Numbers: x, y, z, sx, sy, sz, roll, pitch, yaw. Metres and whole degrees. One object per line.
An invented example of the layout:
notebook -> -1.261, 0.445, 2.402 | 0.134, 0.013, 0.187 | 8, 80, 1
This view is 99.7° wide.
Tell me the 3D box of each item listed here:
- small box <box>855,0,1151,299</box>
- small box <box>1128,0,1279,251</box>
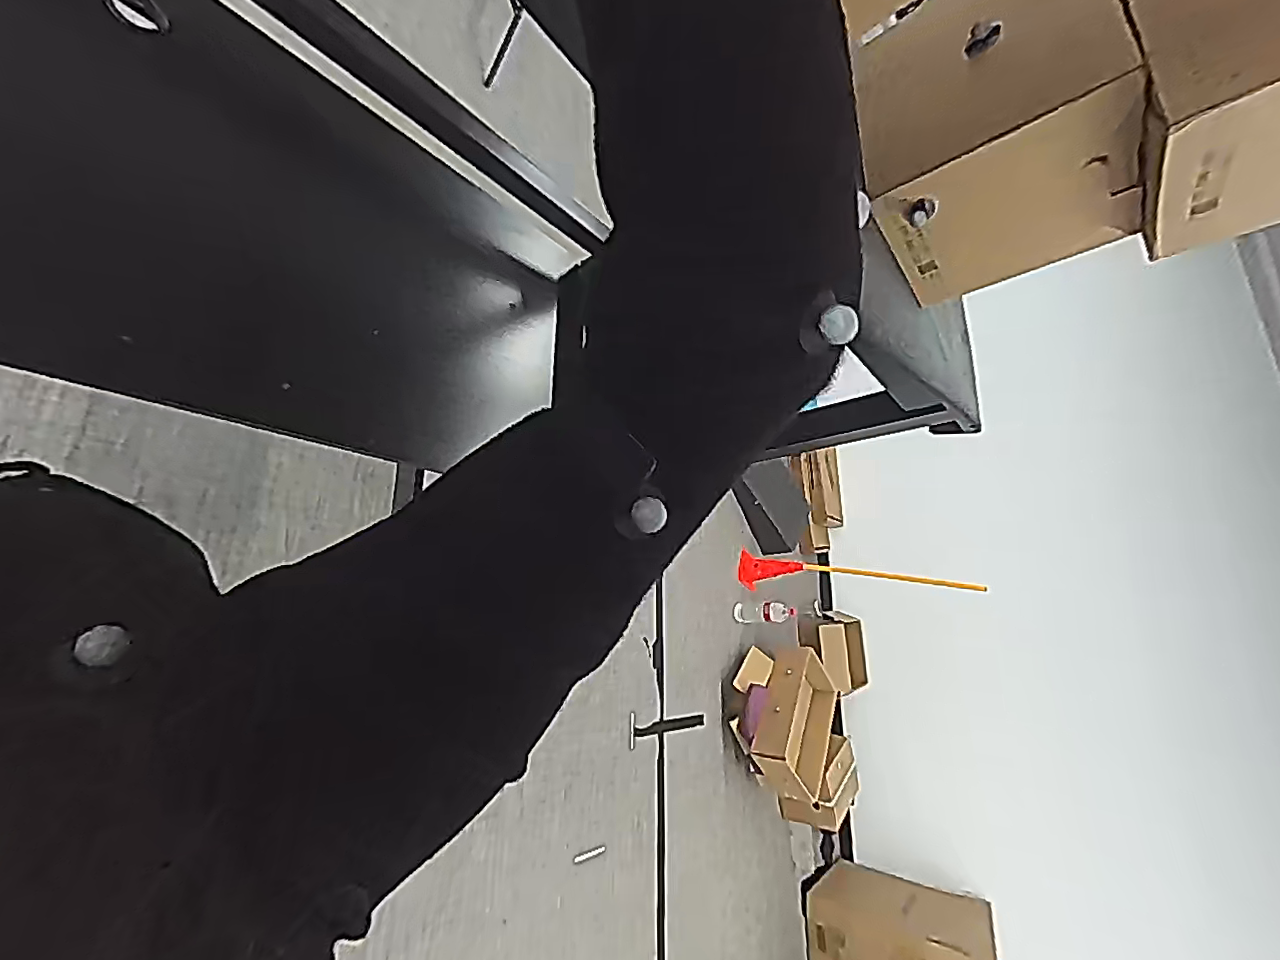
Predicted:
small box -> 0.299, -0.289, 0.461 | 0.168, 0.176, 0.179 | 24, 60, -46
small box -> 0.424, -0.288, 0.352 | 0.168, 0.176, 0.179 | 16, 66, -49
